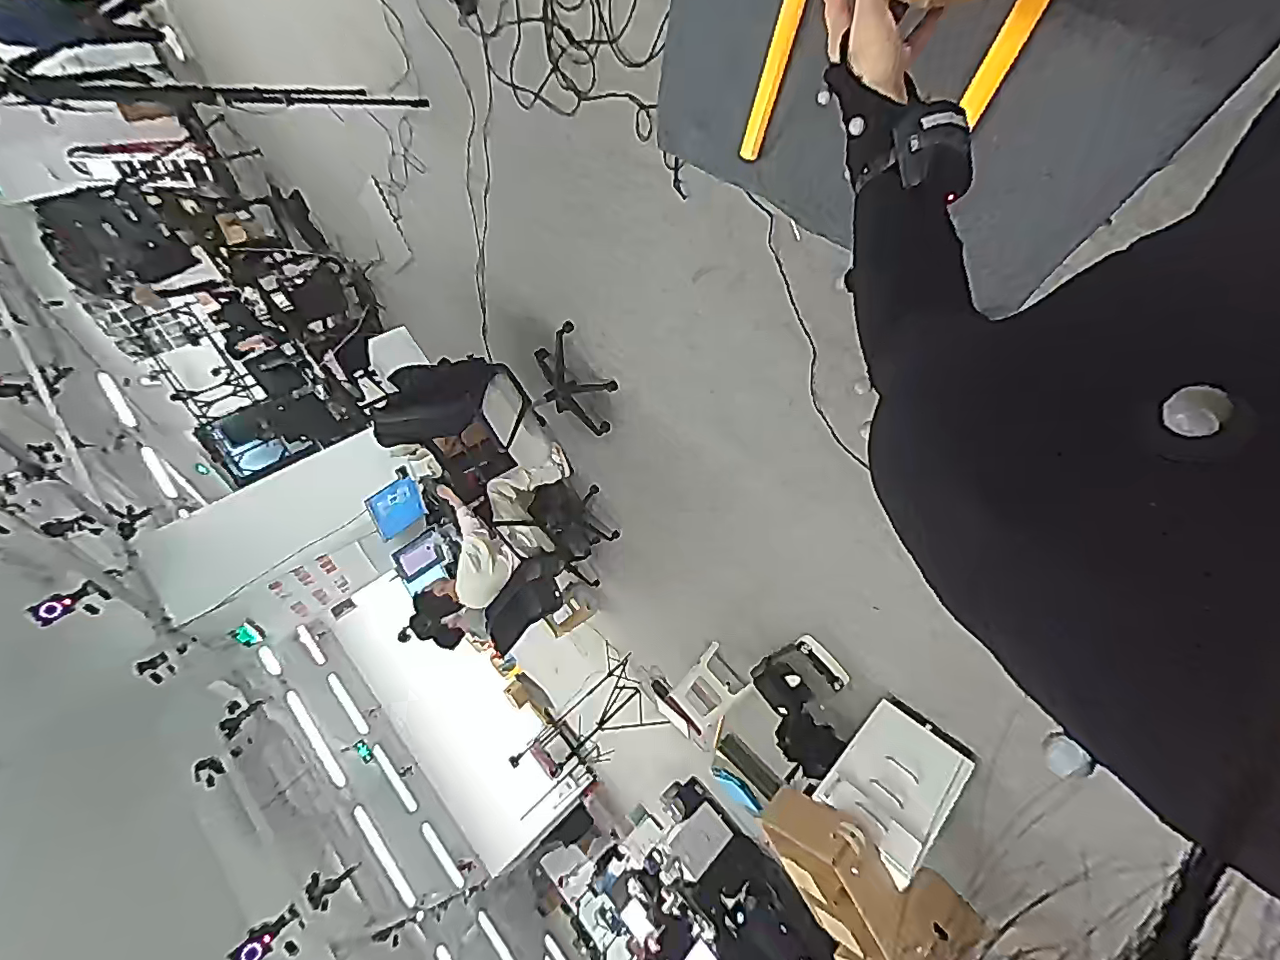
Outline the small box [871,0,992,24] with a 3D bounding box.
[{"bbox_3d":[0.249,-0.514,0.444,0.179,0.176,0.168,44,149,20],"label":"small box"}]
